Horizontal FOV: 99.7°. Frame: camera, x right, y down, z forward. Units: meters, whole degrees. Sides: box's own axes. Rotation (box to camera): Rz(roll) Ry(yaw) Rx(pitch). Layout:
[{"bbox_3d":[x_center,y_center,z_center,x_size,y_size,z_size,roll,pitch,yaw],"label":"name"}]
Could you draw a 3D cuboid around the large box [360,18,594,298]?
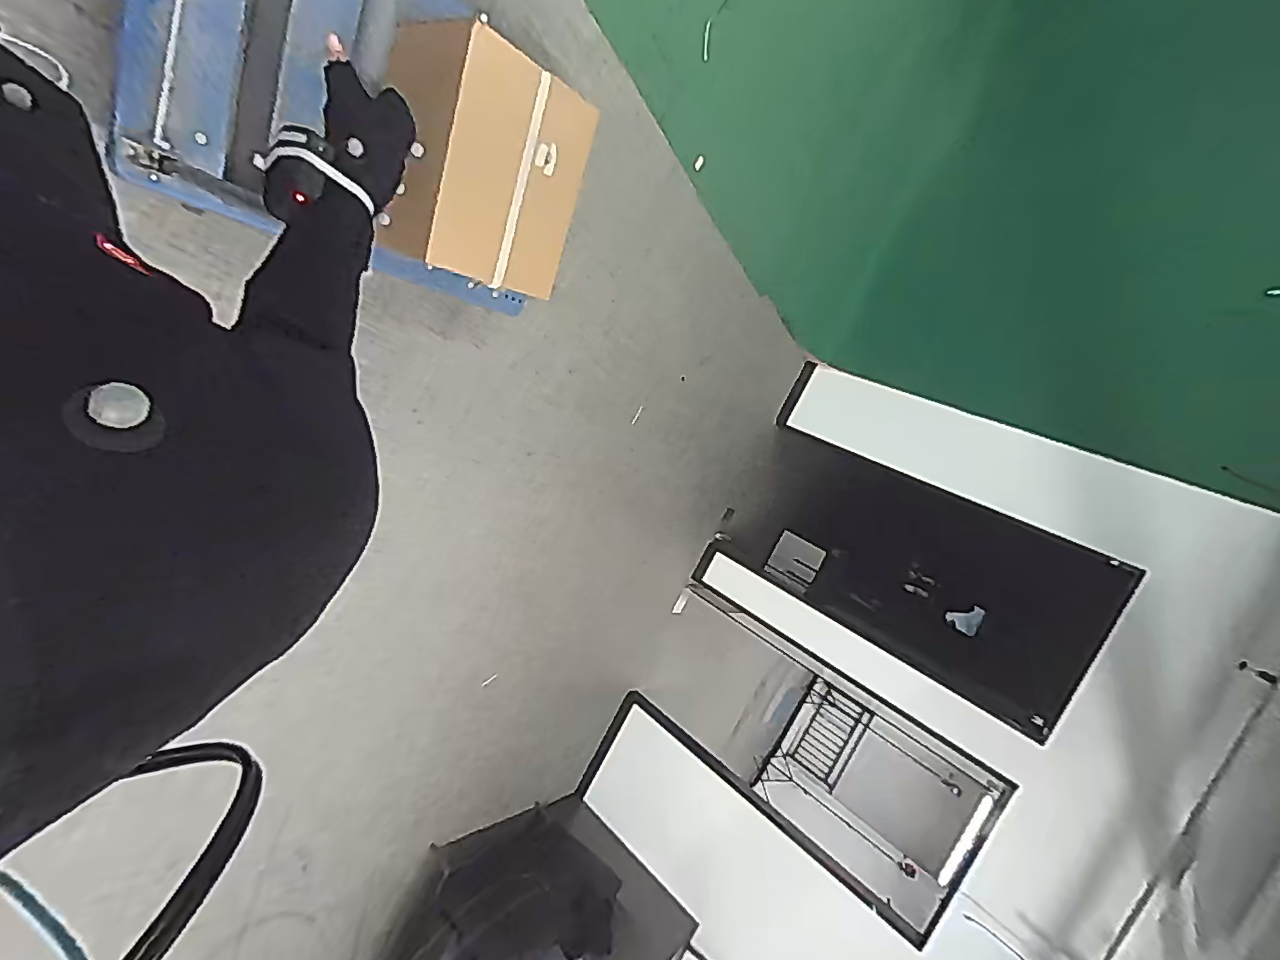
[{"bbox_3d":[-0.354,-0.648,1.149,0.320,0.320,0.408,-3,116,-53],"label":"large box"}]
